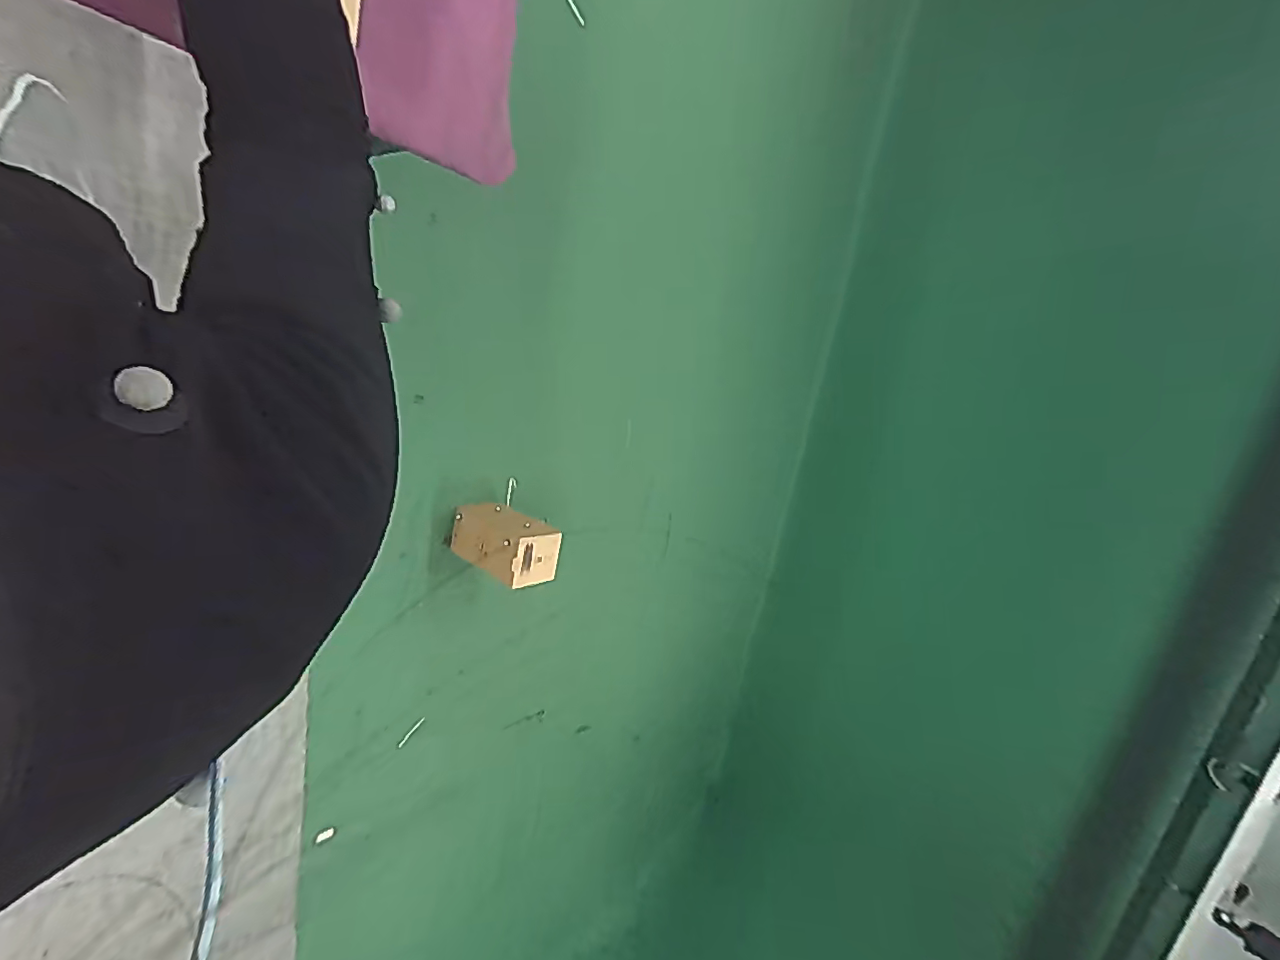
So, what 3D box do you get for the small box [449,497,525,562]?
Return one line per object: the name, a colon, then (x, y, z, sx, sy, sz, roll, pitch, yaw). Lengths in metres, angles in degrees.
small box: (-0.519, 0.160, 1.822, 0.179, 0.176, 0.168, -3, 109, -52)
